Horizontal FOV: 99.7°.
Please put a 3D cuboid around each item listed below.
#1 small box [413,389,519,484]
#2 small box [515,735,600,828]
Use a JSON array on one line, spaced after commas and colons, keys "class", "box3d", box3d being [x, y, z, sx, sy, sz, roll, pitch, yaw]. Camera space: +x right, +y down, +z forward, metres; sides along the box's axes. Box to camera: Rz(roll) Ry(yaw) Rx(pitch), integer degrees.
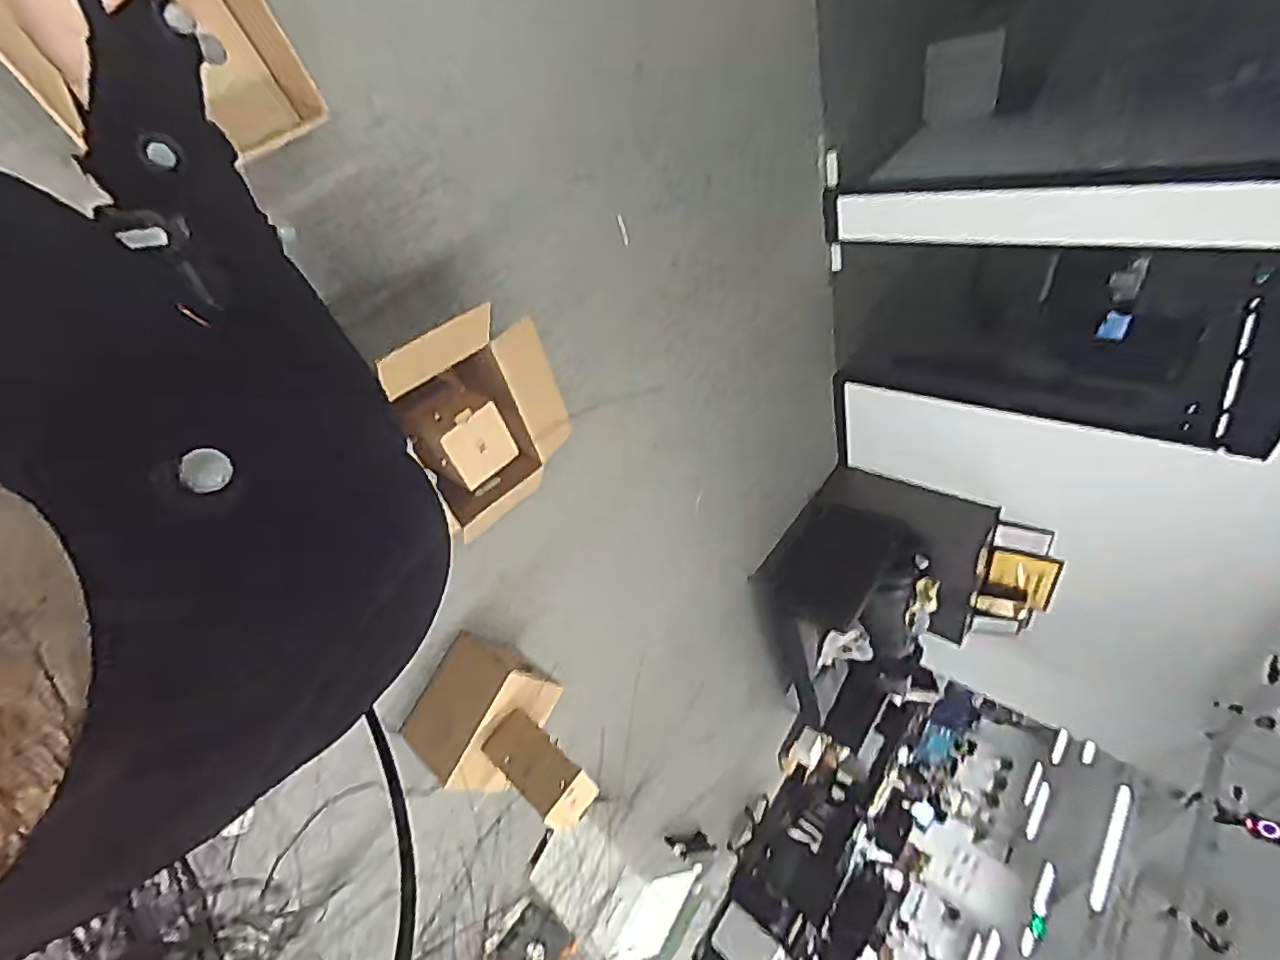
[{"class": "small box", "box3d": [-0.459, -0.123, 1.420, 0.168, 0.176, 0.179, -44, 136, -26]}, {"class": "small box", "box3d": [-0.257, 0.937, 1.692, 0.168, 0.176, 0.179, -46, 138, -27]}]
